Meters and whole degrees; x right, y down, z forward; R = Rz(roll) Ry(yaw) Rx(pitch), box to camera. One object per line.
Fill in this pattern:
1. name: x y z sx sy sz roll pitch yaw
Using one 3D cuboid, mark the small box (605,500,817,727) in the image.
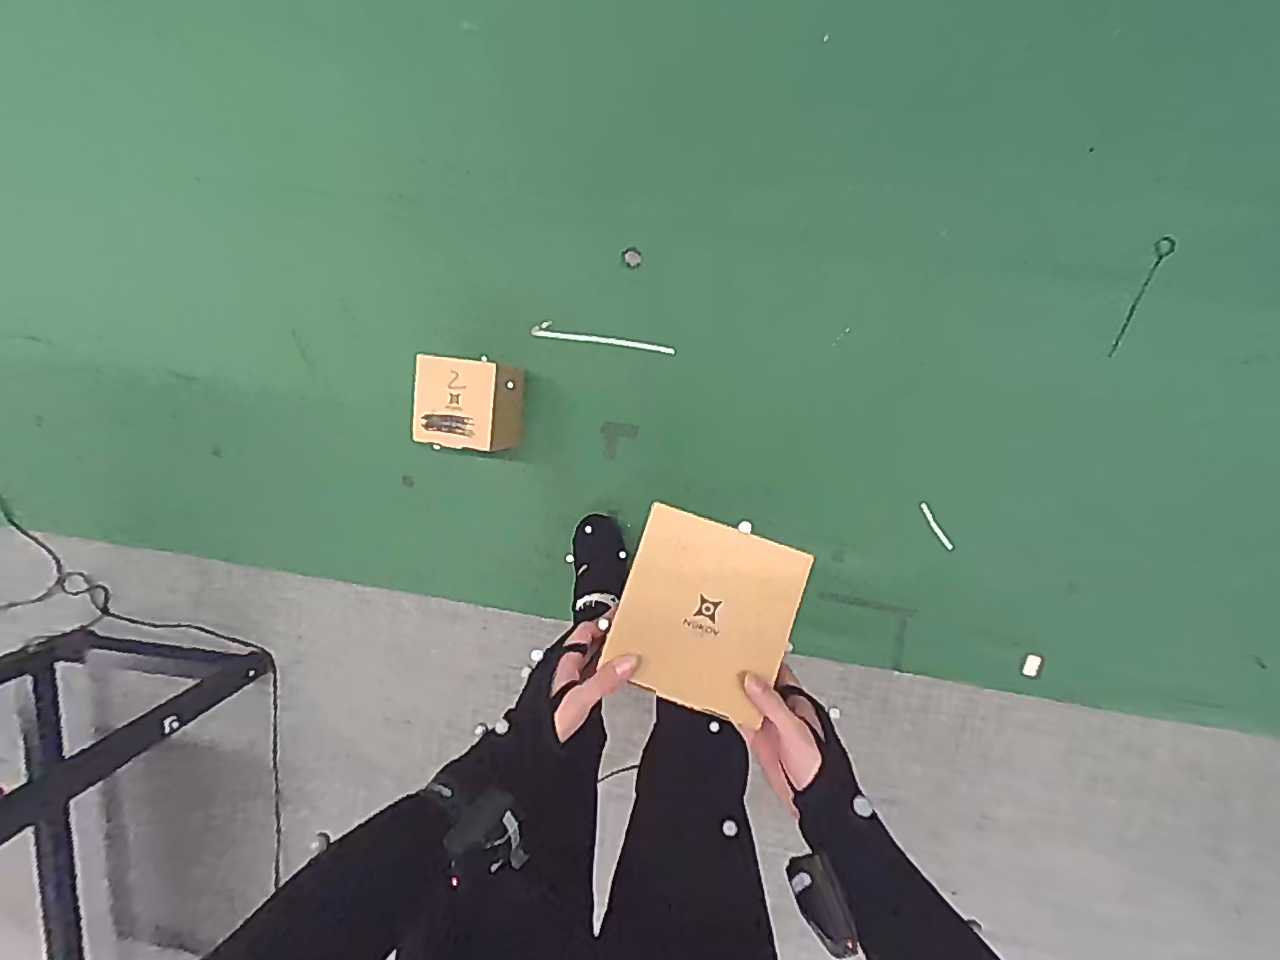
1. small box: 0.069 0.133 0.598 0.168 0.176 0.179 18 86 3
